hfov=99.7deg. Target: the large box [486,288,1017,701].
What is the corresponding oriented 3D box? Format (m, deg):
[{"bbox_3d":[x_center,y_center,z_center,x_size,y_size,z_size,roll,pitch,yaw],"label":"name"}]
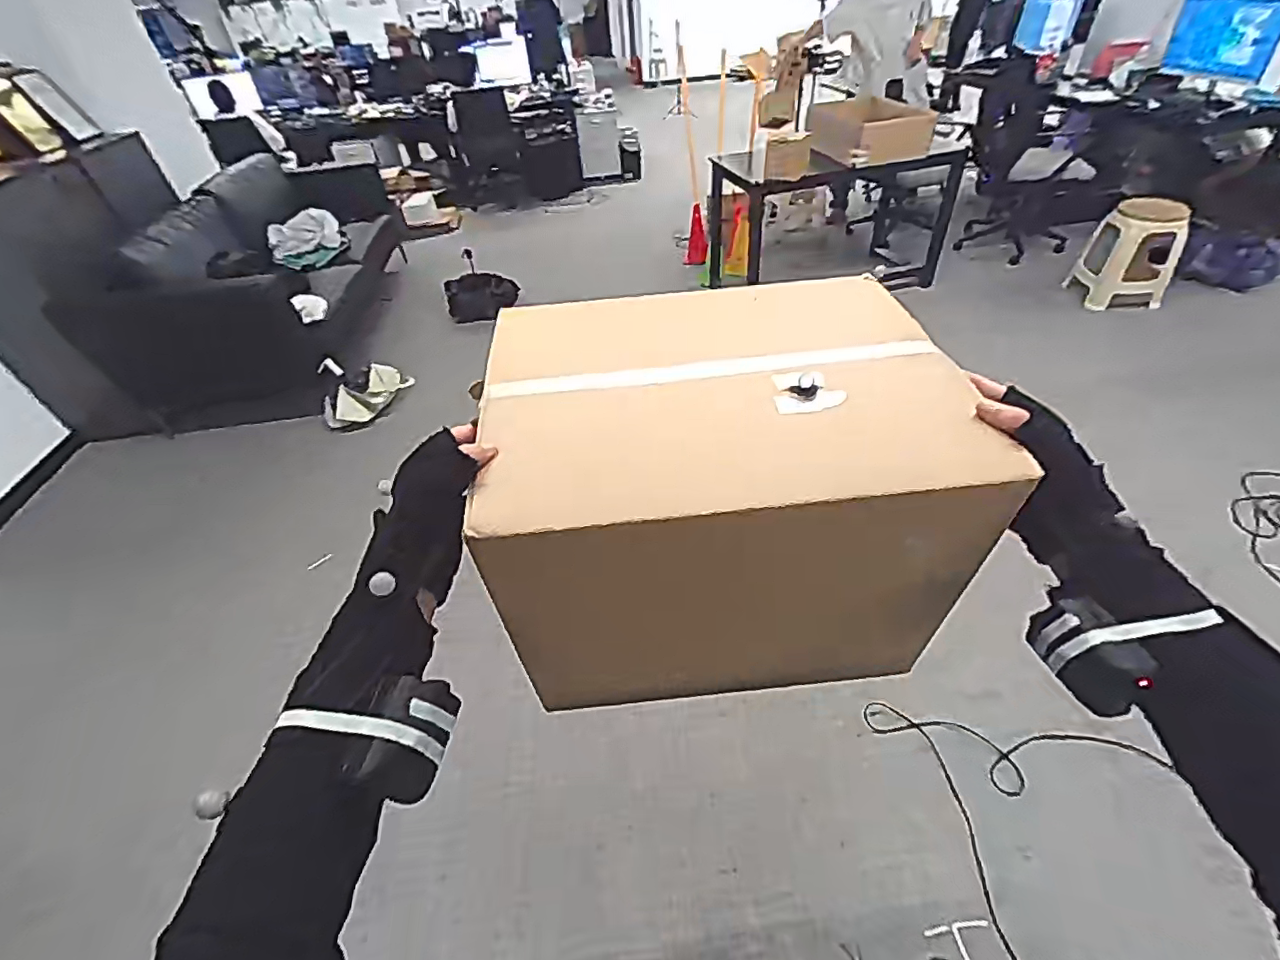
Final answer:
[{"bbox_3d":[0.075,0.014,0.599,0.408,0.320,0.320,-5,46,-2],"label":"large box"}]
